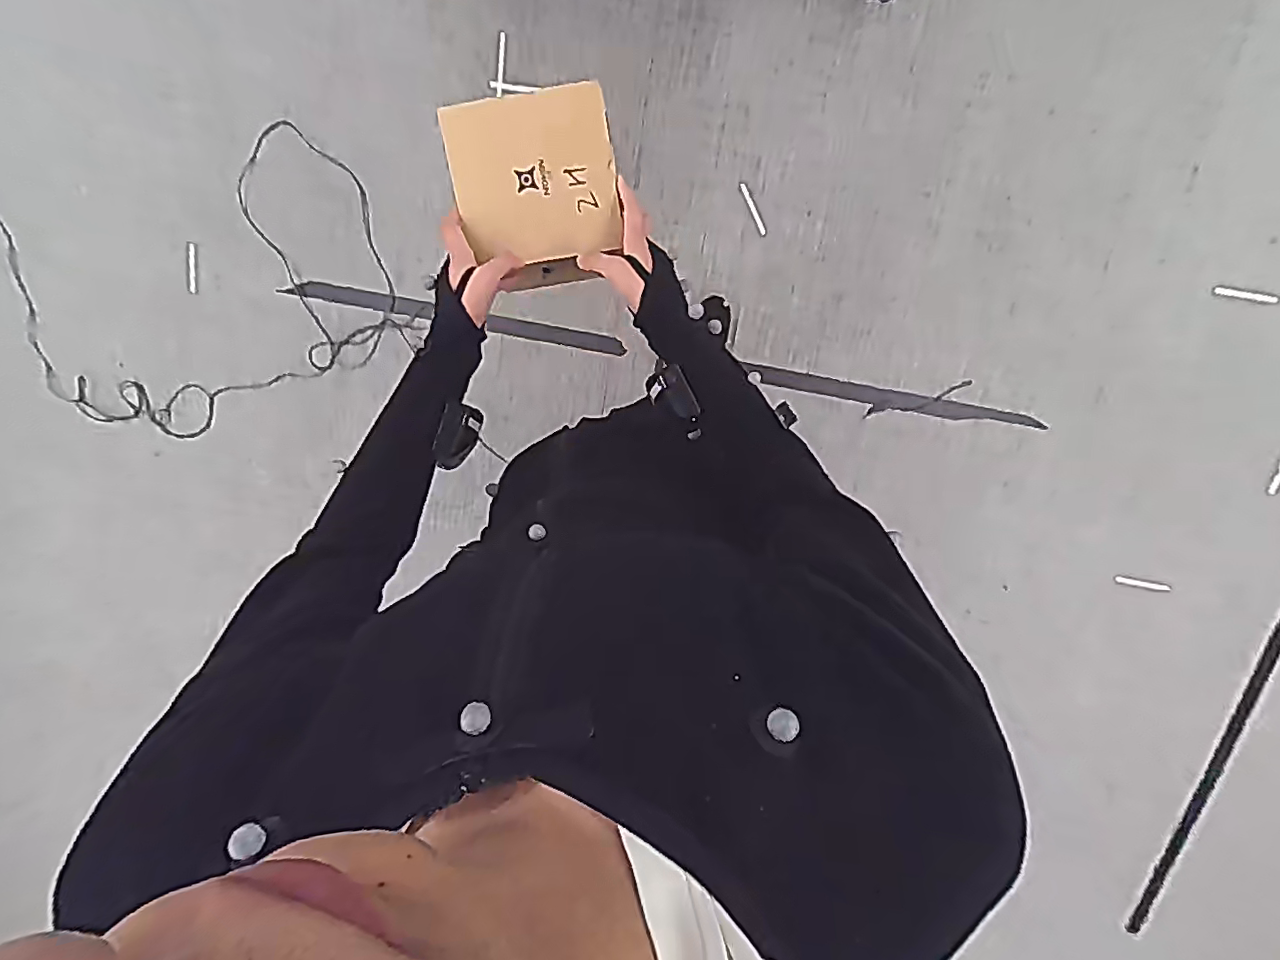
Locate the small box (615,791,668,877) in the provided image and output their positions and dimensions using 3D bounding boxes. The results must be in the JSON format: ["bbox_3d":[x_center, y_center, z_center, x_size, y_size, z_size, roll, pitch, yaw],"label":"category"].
[{"bbox_3d":[0.009,1.188,1.820,0.168,0.176,0.179,0,103,4],"label":"small box"}]

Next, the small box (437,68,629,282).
[{"bbox_3d":[-0.110,-0.338,0.636,0.179,0.176,0.168,-9,103,1],"label":"small box"}]
